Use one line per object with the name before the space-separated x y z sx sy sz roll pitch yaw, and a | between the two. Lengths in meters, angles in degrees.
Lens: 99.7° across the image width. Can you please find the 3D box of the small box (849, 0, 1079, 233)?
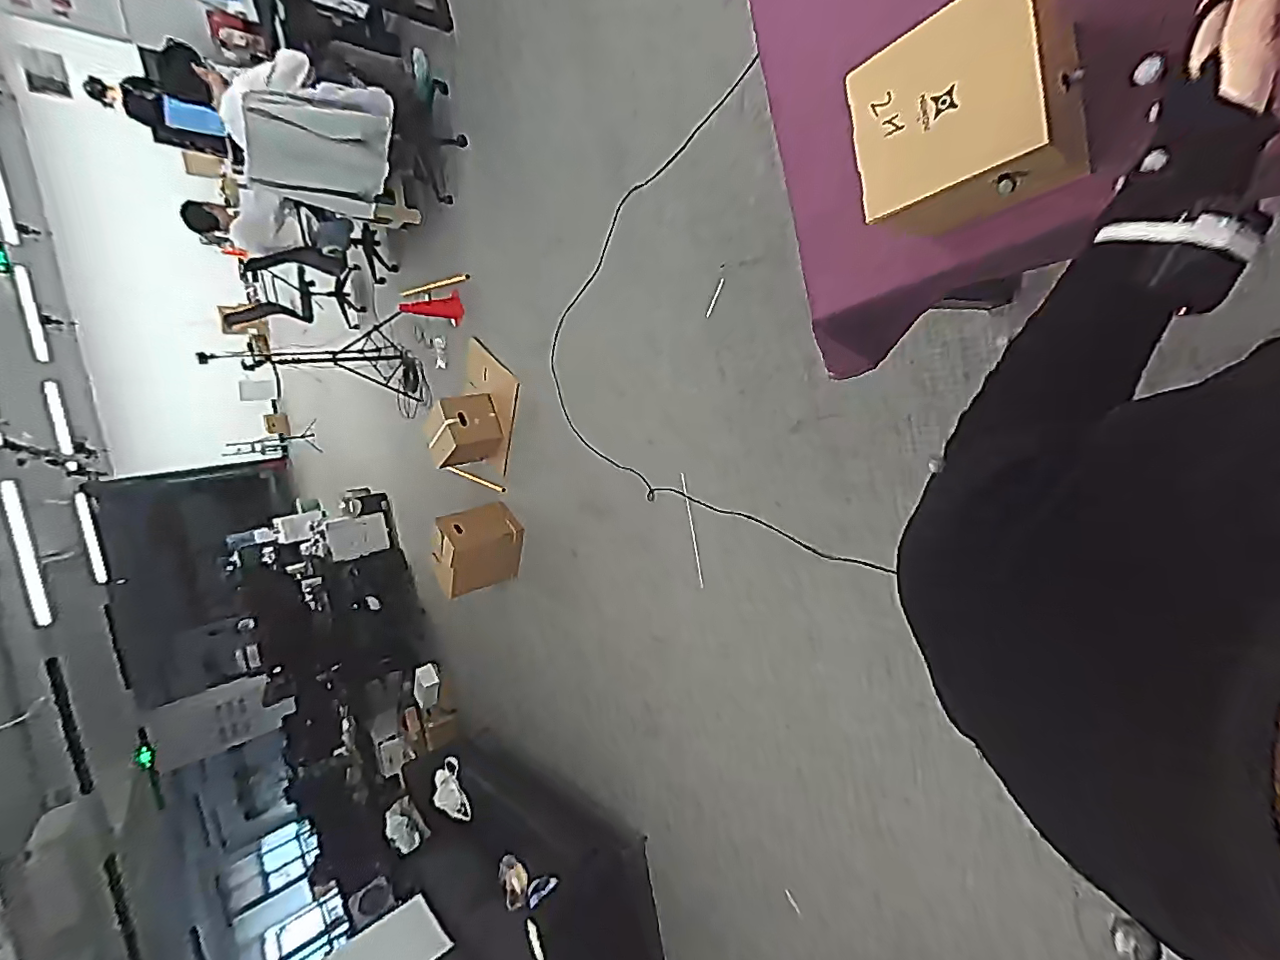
small box | 0.365 -0.398 0.605 0.179 0.176 0.168 -5 96 51
